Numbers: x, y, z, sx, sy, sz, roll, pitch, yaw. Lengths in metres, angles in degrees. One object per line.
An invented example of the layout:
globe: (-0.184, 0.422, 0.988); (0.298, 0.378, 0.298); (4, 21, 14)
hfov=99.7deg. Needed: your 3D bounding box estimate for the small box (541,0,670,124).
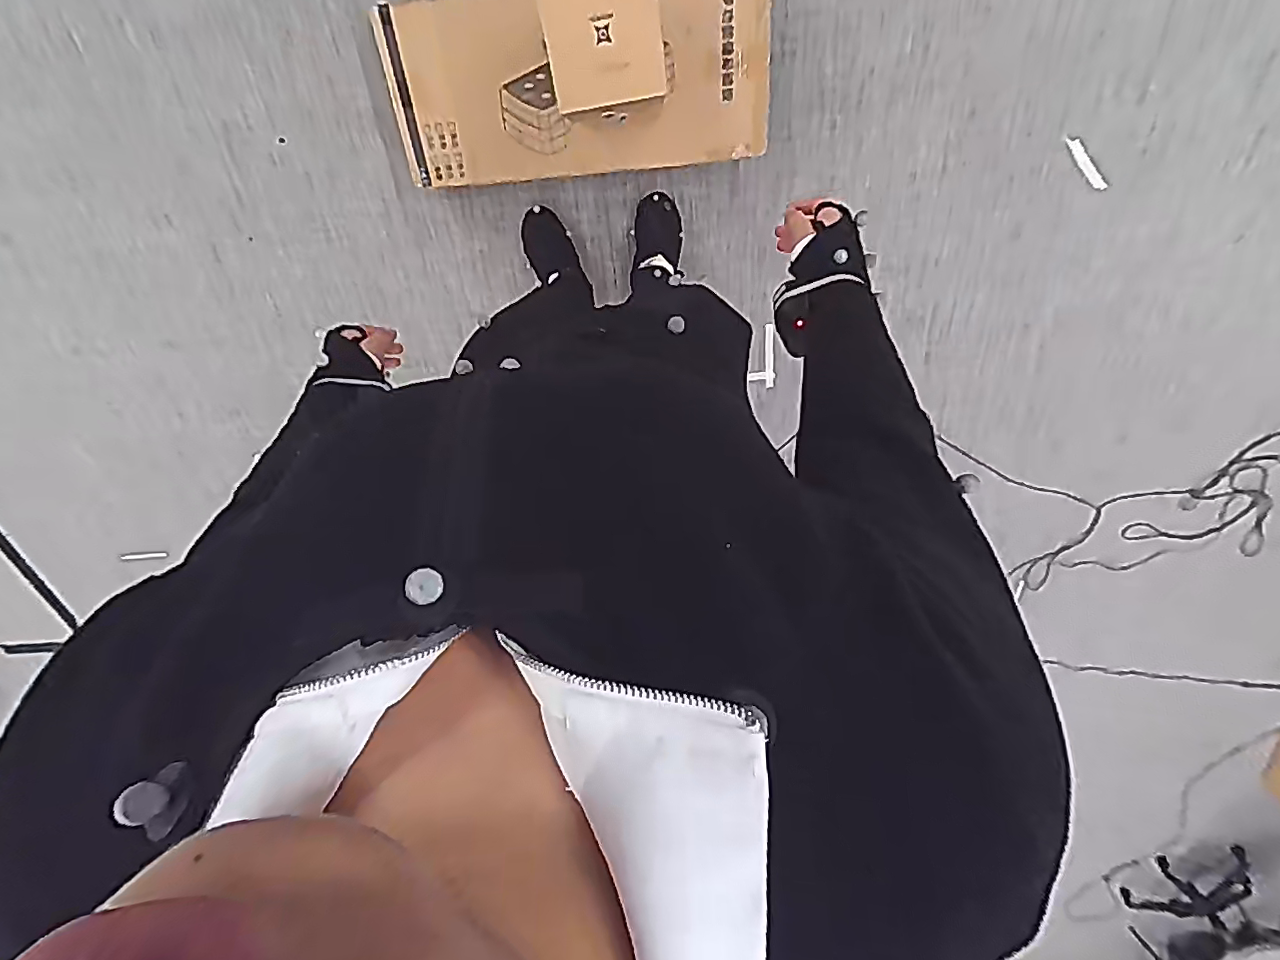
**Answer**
small box: (-0.049, -0.666, 0.827); (0.168, 0.176, 0.179); (-8, 120, 5)
